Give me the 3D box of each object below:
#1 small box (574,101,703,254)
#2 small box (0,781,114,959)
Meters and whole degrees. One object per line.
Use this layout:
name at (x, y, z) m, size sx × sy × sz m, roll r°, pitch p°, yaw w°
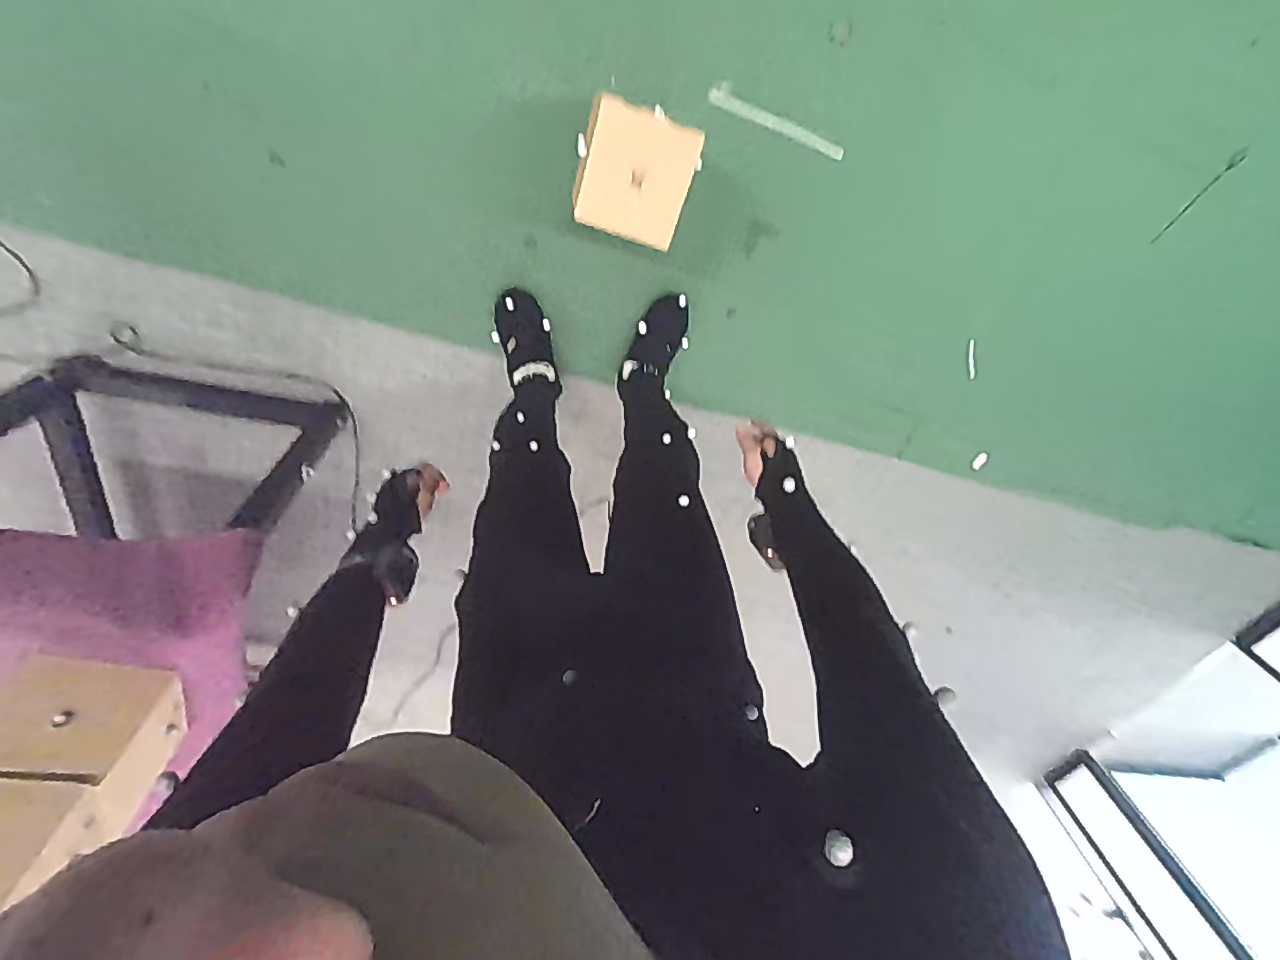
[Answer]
small box at (-0.009, -0.513, 0.920) m, size 0.168 × 0.176 × 0.179 m, roll 12°, pitch 121°, yaw -14°
small box at (-0.760, 0.457, 0.605) m, size 0.179 × 0.176 × 0.168 m, roll 13°, pitch 123°, yaw -15°
